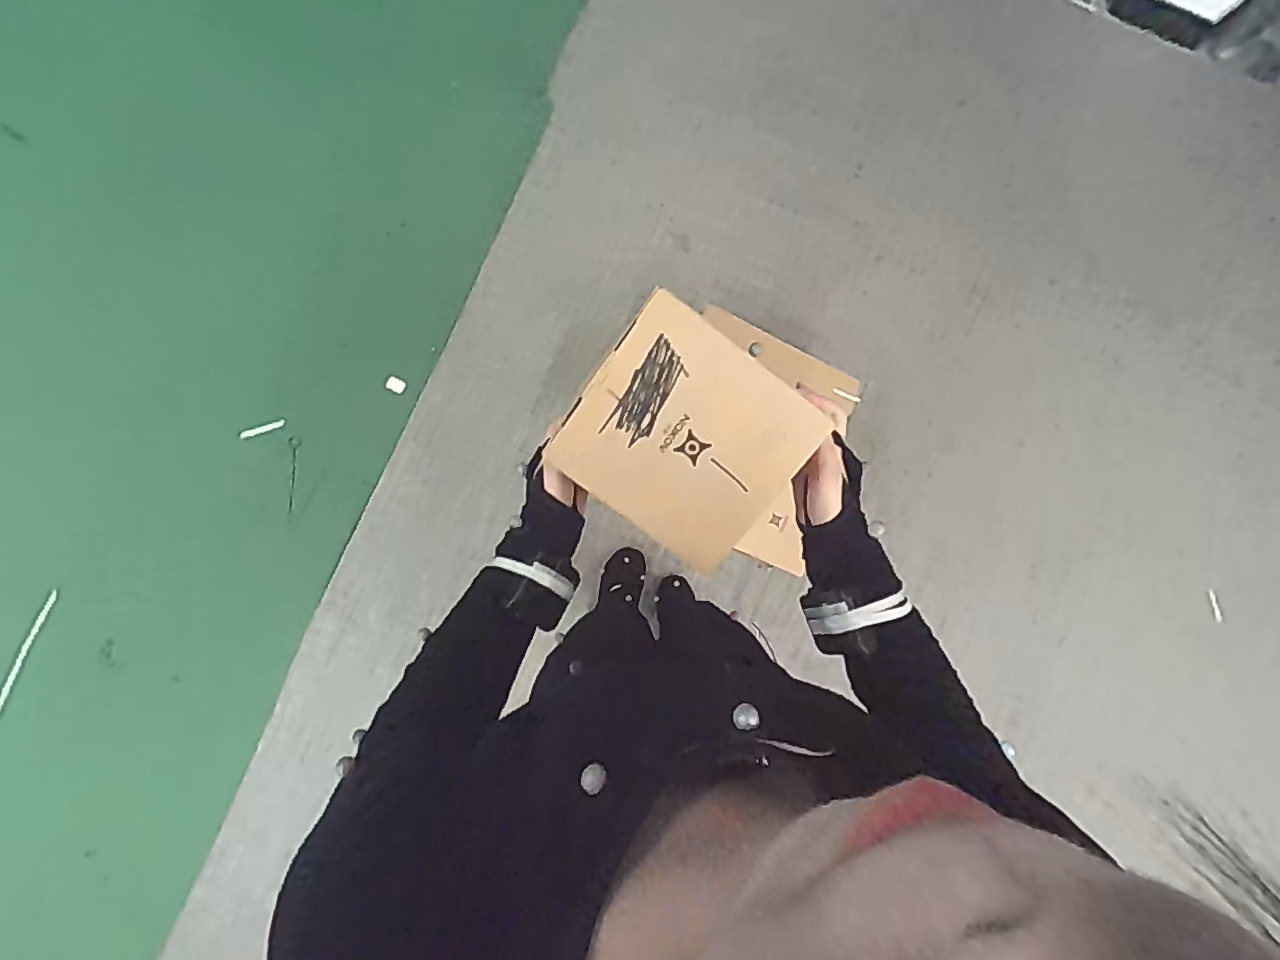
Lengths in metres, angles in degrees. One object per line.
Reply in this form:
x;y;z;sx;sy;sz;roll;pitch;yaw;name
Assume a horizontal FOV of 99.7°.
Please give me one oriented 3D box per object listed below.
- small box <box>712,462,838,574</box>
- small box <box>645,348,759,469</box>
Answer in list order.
0.266;0.075;1.107;0.179;0.176;0.168;24;86;-1;small box
0.117;-0.137;1.112;0.168;0.176;0.179;26;85;0;small box
